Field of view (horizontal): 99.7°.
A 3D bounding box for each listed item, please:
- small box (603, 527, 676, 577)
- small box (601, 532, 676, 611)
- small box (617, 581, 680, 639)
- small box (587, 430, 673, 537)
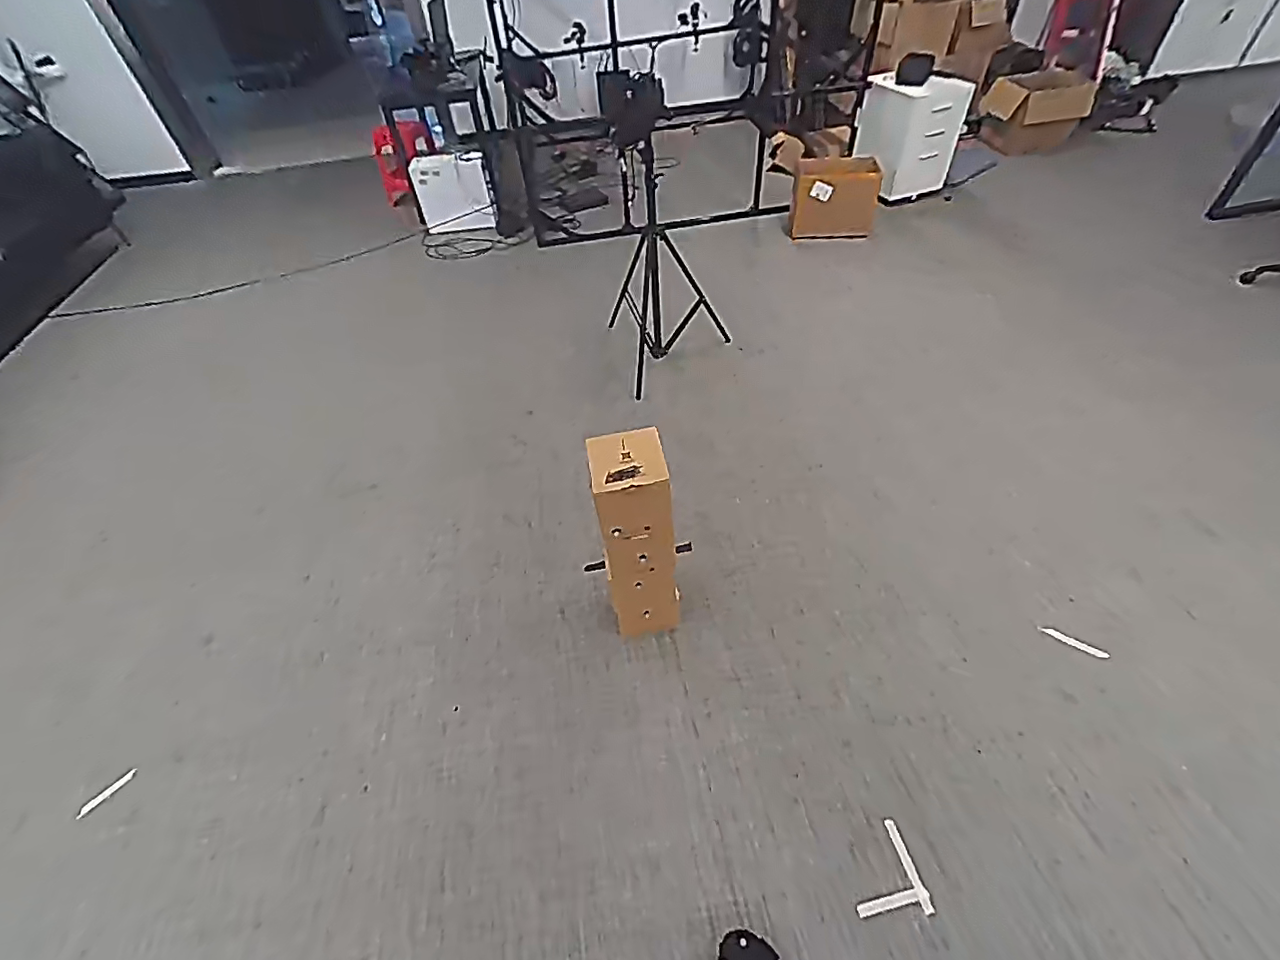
[{"bbox_3d":[-0.006,0.126,1.350,0.168,0.176,0.179,-9,49,-2],"label":"small box"},{"bbox_3d":[-0.002,0.239,1.468,0.179,0.176,0.168,-8,48,-2],"label":"small box"},{"bbox_3d":[0.016,0.346,1.592,0.179,0.176,0.168,-10,48,-4],"label":"small box"},{"bbox_3d":[-0.021,0.015,1.230,0.168,0.176,0.179,-10,47,-3],"label":"small box"}]
